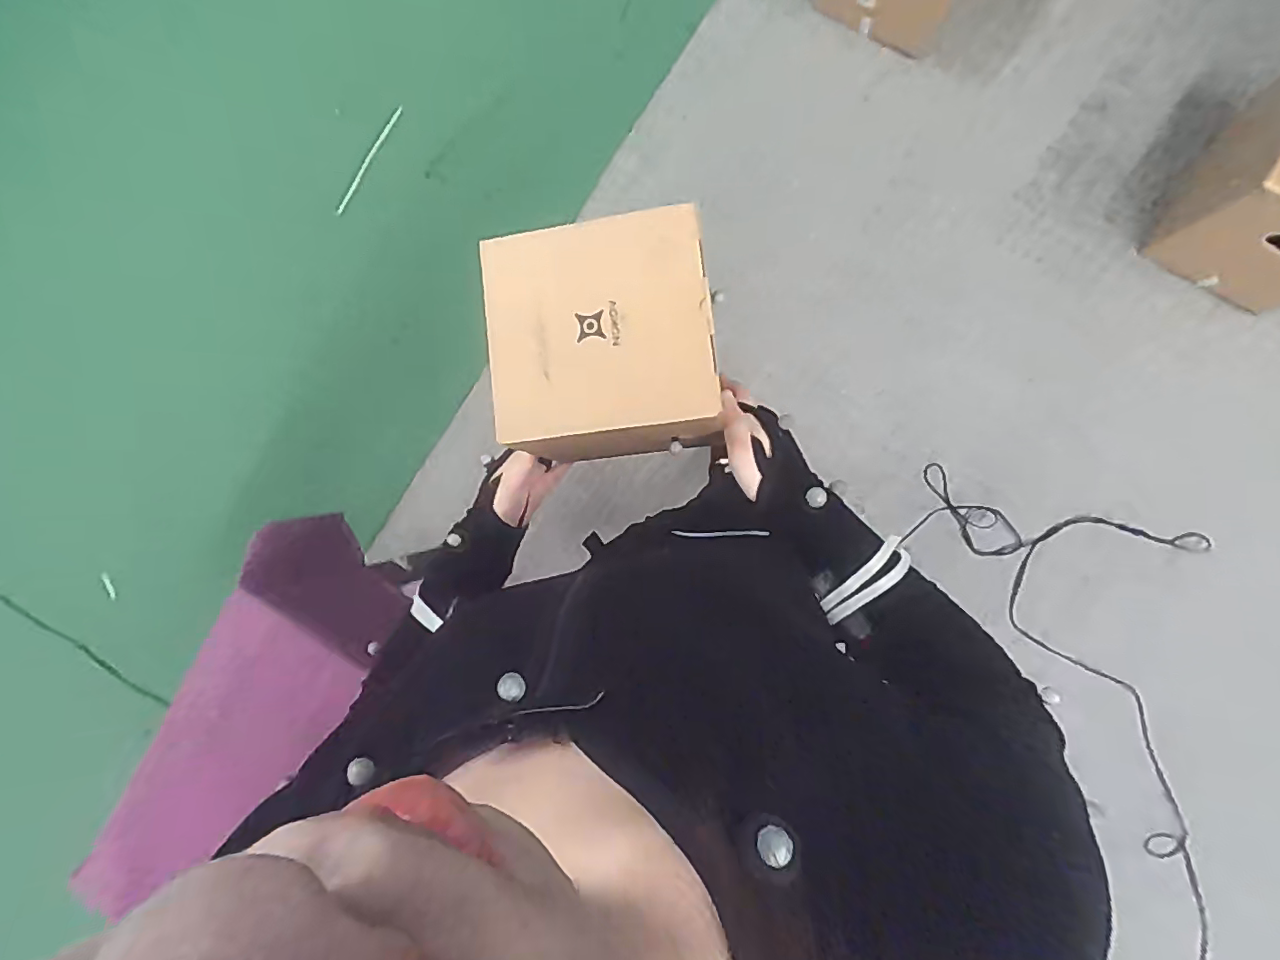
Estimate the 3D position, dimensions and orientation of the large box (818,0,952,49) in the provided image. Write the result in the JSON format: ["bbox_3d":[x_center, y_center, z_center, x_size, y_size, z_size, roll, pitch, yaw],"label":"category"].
[{"bbox_3d":[0.668,-1.339,1.239,0.320,0.320,0.408,33,94,6],"label":"large box"}]

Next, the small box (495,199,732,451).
[{"bbox_3d":[-0.012,-0.120,0.488,0.179,0.176,0.168,-4,86,9],"label":"small box"}]

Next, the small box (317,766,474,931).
[{"bbox_3d":[-0.357,0.545,0.751,0.168,0.176,0.179,33,95,6],"label":"small box"}]
